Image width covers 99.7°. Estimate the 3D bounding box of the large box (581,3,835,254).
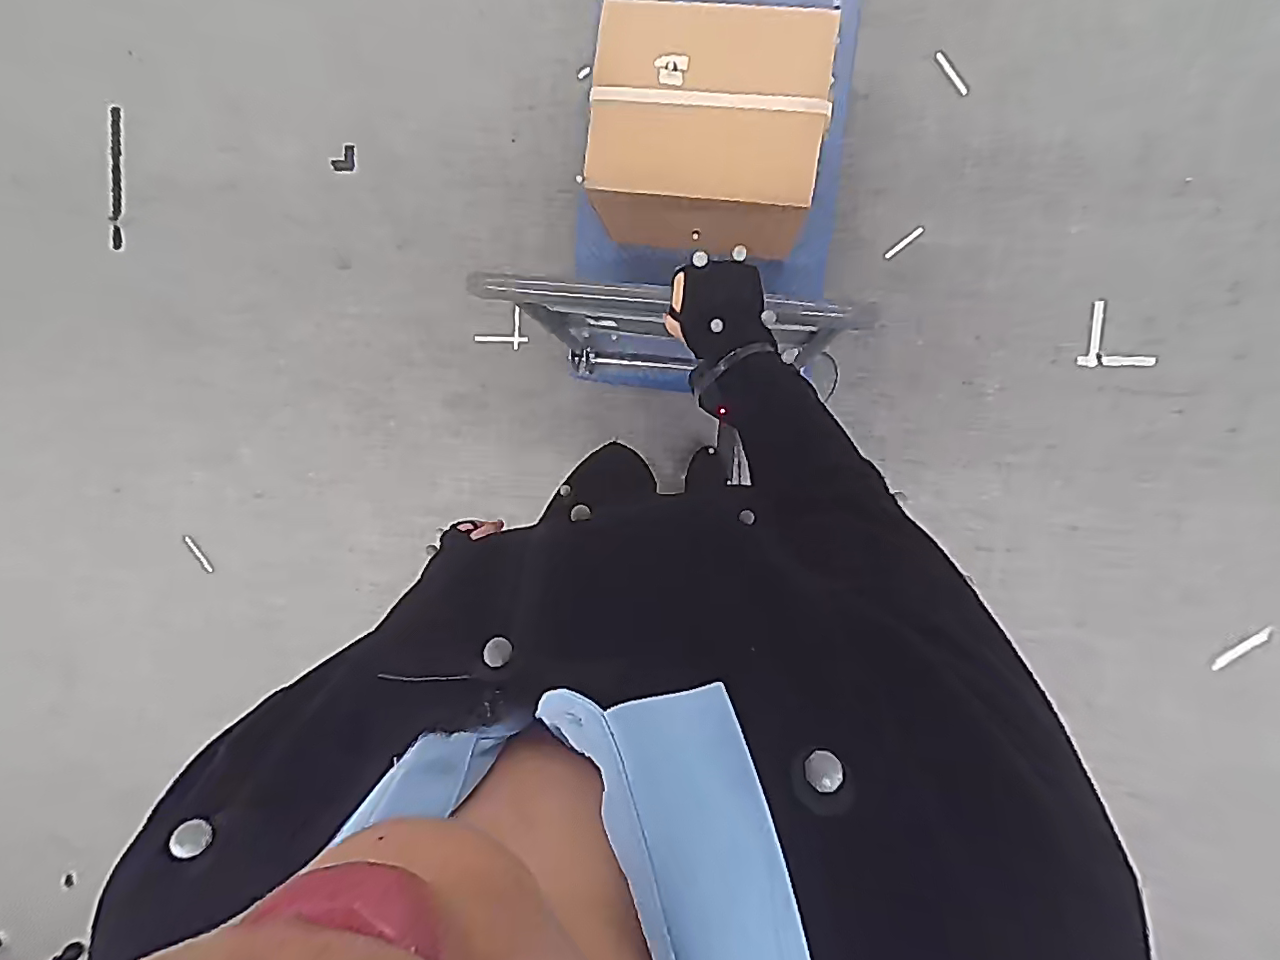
[{"bbox_3d":[0.129,-0.657,1.063,0.408,0.320,0.320,8,96,8],"label":"large box"}]
